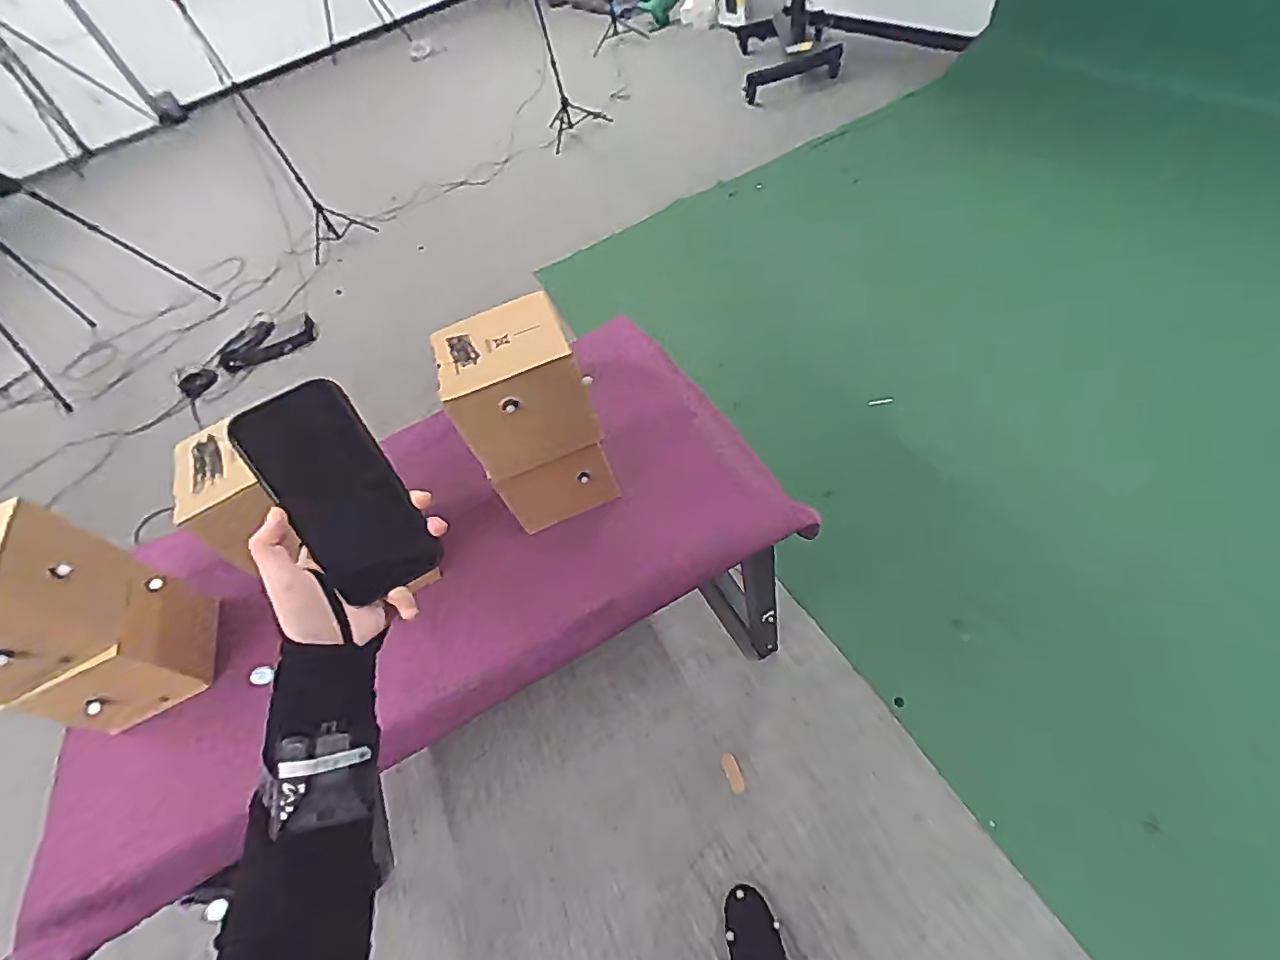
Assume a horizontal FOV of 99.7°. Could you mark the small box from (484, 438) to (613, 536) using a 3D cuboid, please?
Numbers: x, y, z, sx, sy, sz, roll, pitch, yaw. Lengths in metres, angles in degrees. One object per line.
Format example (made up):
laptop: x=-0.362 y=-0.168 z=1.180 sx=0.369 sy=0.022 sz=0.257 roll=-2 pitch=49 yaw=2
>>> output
small box: x=-0.155 y=-0.036 z=0.918 sx=0.179 sy=0.176 sz=0.168 roll=-23 pitch=50 yaw=-2

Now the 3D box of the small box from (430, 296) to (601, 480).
small box: x=-0.177 y=-0.128 z=0.783 sx=0.179 sy=0.176 sz=0.168 roll=-23 pitch=50 yaw=-3

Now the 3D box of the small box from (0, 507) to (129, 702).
small box: x=-0.852 y=0.177 z=0.734 sx=0.168 sy=0.176 sz=0.179 roll=-31 pitch=52 yaw=-10

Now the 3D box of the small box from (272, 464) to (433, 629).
small box: x=-0.461 y=0.112 z=0.886 sx=0.179 sy=0.176 sz=0.168 roll=-28 pitch=51 yaw=-7

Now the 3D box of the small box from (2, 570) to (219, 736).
small box: x=-0.812 y=0.281 z=0.856 sx=0.168 sy=0.176 sz=0.179 roll=-27 pitch=51 yaw=-6
